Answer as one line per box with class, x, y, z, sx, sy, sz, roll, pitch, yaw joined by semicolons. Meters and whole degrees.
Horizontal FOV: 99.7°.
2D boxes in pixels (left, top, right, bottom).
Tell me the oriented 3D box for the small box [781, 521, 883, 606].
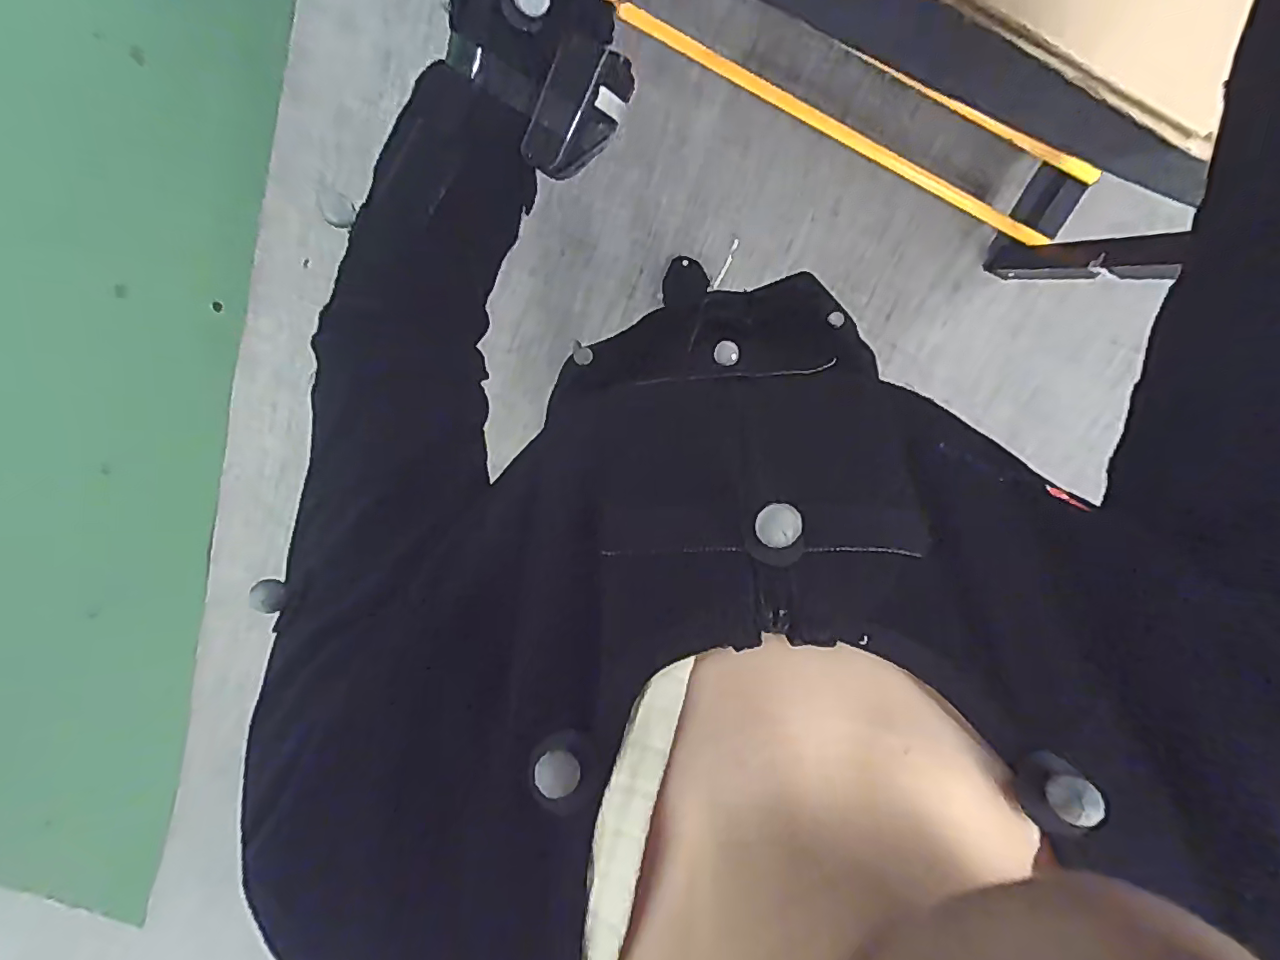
small box;0.482;0.229;1.388;0.168;0.176;0.179;18;109;-5
